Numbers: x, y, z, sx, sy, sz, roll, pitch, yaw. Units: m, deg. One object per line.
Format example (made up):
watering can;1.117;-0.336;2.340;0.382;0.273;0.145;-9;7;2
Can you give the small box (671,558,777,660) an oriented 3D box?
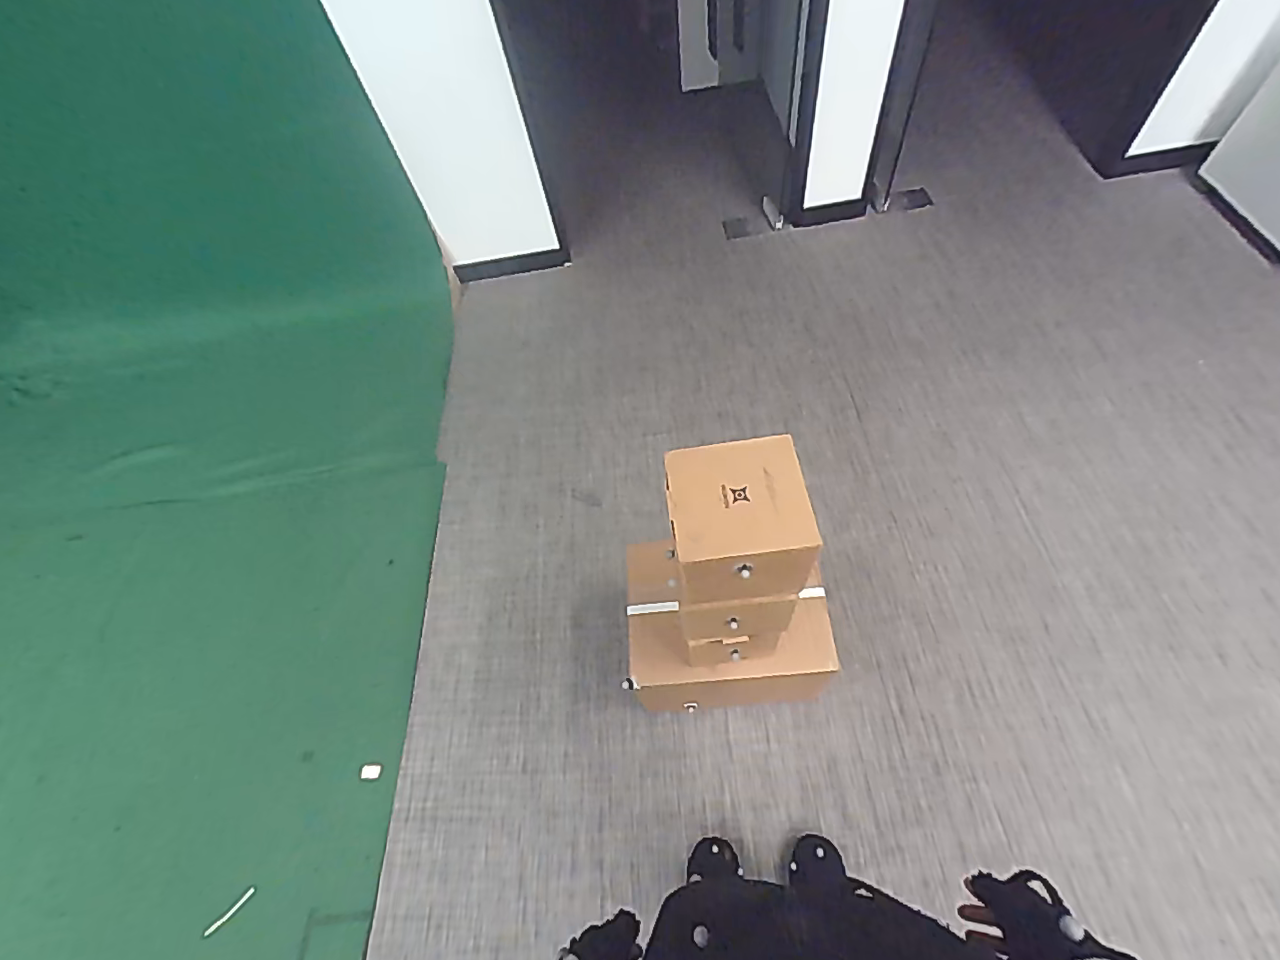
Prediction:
small box;0.157;0.238;1.032;0.168;0.176;0.179;-9;59;3

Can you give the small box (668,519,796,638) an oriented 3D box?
small box;0.145;0.153;0.891;0.179;0.176;0.168;-7;58;5

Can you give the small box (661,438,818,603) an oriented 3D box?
small box;0.130;0.064;0.757;0.179;0.176;0.168;-8;60;2
